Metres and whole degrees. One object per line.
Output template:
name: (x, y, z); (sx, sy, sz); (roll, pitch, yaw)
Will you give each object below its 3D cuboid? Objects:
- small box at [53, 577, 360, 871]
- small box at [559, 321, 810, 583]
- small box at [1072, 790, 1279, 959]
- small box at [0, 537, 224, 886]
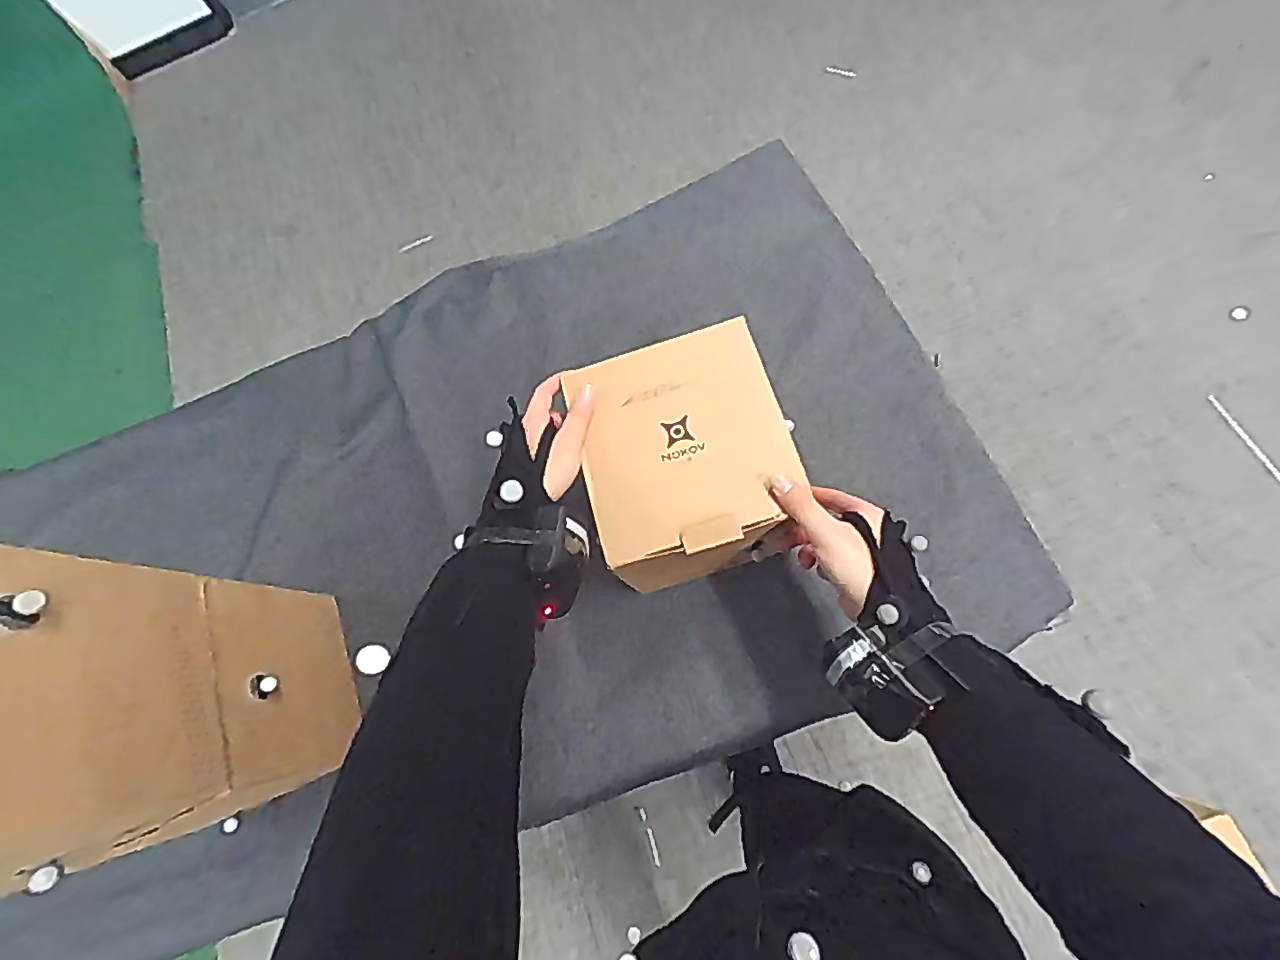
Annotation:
small box: (-0.394, 0.211, 0.504); (0.168, 0.176, 0.179); (-25, 69, 0)
small box: (0.041, -0.010, 0.505); (0.168, 0.176, 0.179); (-17, 70, 2)
small box: (0.901, 0.662, 0.919); (0.168, 0.176, 0.179); (-19, 72, 4)
small box: (-0.420, 0.159, 0.350); (0.168, 0.176, 0.179); (-27, 70, 1)
